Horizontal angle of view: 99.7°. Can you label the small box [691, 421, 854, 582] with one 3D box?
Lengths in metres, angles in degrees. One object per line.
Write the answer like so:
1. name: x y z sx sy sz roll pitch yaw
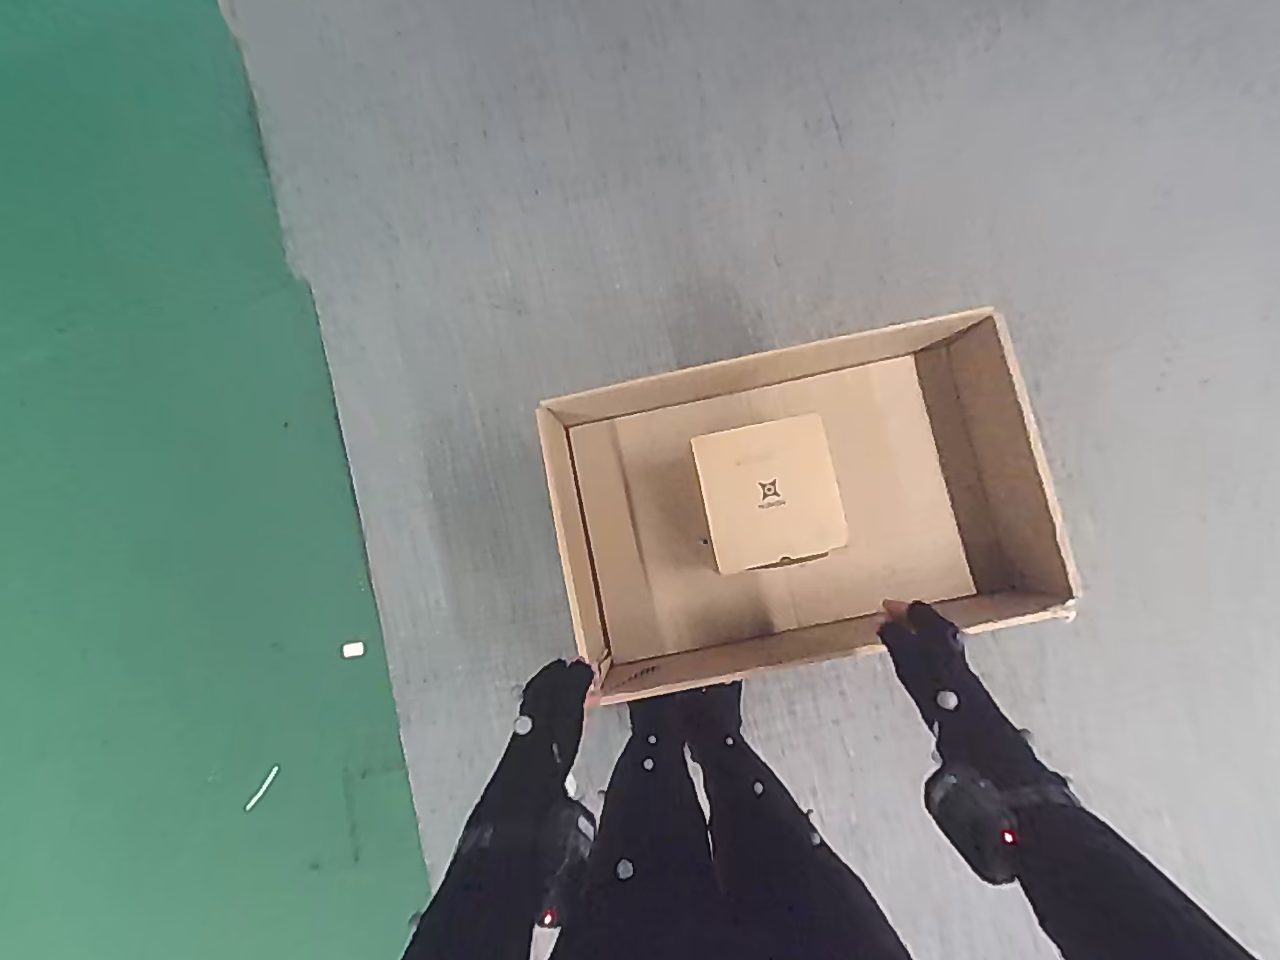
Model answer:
1. small box: 0.168 0.034 0.743 0.168 0.176 0.179 -12 82 1
